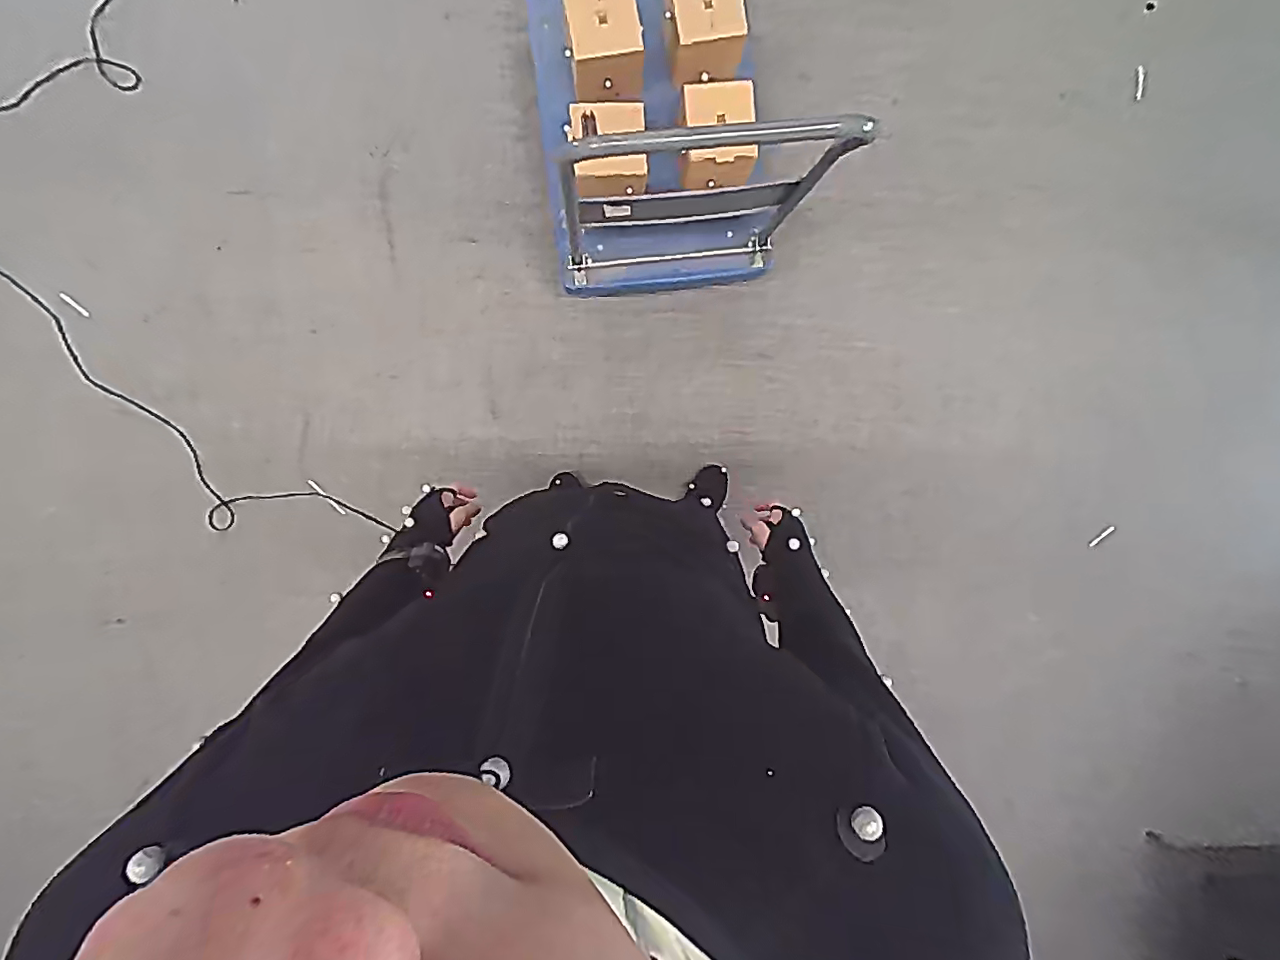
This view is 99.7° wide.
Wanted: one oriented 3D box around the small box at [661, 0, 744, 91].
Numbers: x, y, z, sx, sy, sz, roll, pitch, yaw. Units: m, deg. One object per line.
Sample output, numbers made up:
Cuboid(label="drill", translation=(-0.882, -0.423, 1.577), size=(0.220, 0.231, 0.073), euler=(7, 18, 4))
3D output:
Cuboid(label="small box", translation=(0.151, -1.129, 1.359), size=(0.168, 0.176, 0.179), euler=(-10, 94, -2))

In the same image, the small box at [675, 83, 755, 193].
Cuboid(label="small box", translation=(0.185, -0.861, 1.374), size=(0.168, 0.176, 0.179), euler=(-6, 93, -3))

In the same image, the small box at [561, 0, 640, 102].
Cuboid(label="small box", translation=(-0.096, -1.080, 1.348), size=(0.168, 0.176, 0.179), euler=(-11, 93, -3))
